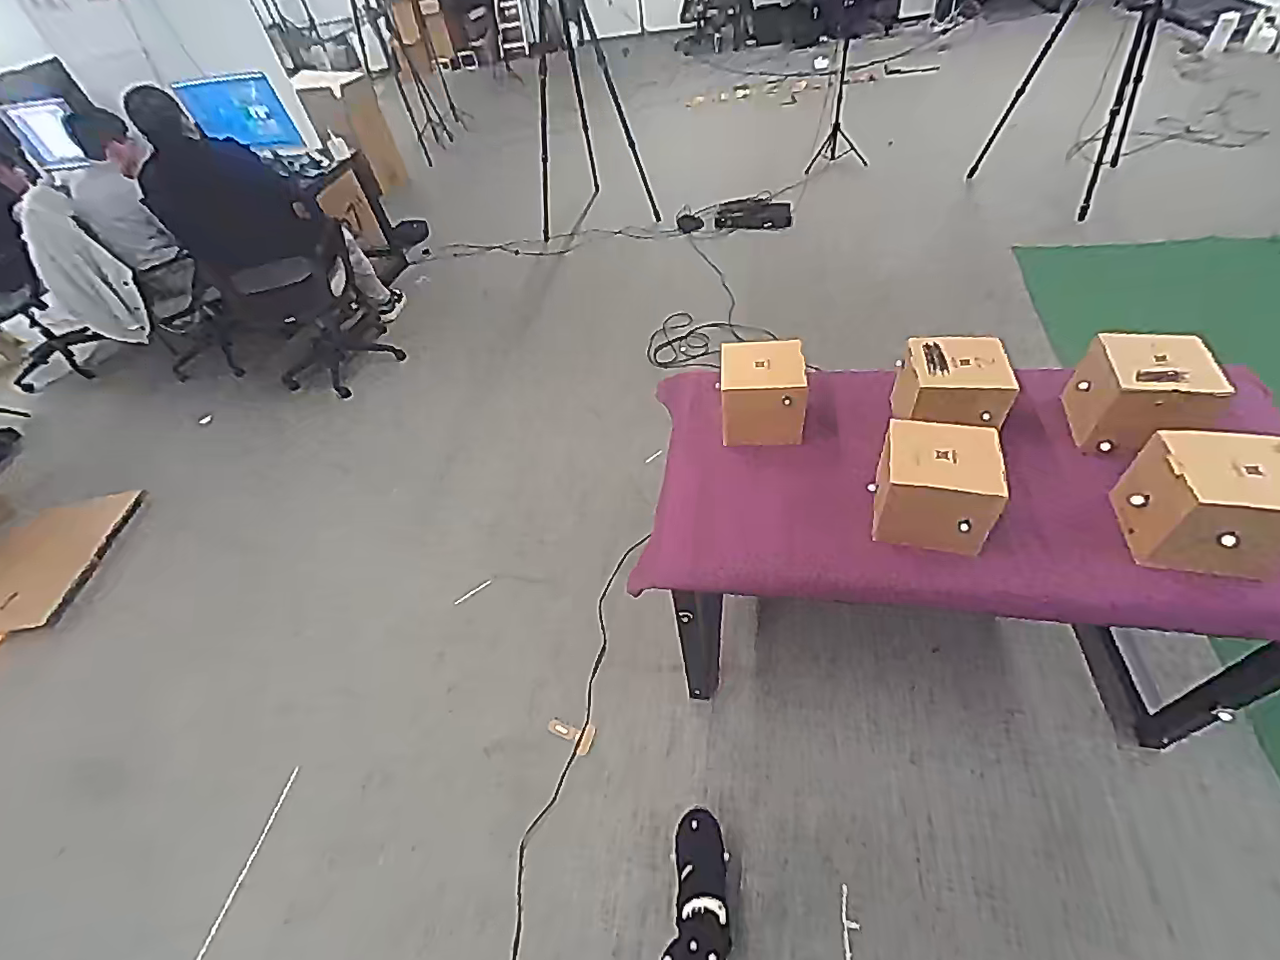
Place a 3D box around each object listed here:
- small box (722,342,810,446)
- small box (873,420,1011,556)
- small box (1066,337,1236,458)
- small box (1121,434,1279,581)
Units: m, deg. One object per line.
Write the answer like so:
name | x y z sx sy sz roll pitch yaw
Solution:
small box | 0.275 -0.188 1.204 0.179 0.176 0.168 0 49 9
small box | 0.532 0.016 0.973 0.179 0.176 0.168 8 49 18
small box | 0.971 -0.157 1.049 0.168 0.176 0.179 7 49 16
small box | 0.928 0.046 0.873 0.179 0.176 0.168 6 49 16
